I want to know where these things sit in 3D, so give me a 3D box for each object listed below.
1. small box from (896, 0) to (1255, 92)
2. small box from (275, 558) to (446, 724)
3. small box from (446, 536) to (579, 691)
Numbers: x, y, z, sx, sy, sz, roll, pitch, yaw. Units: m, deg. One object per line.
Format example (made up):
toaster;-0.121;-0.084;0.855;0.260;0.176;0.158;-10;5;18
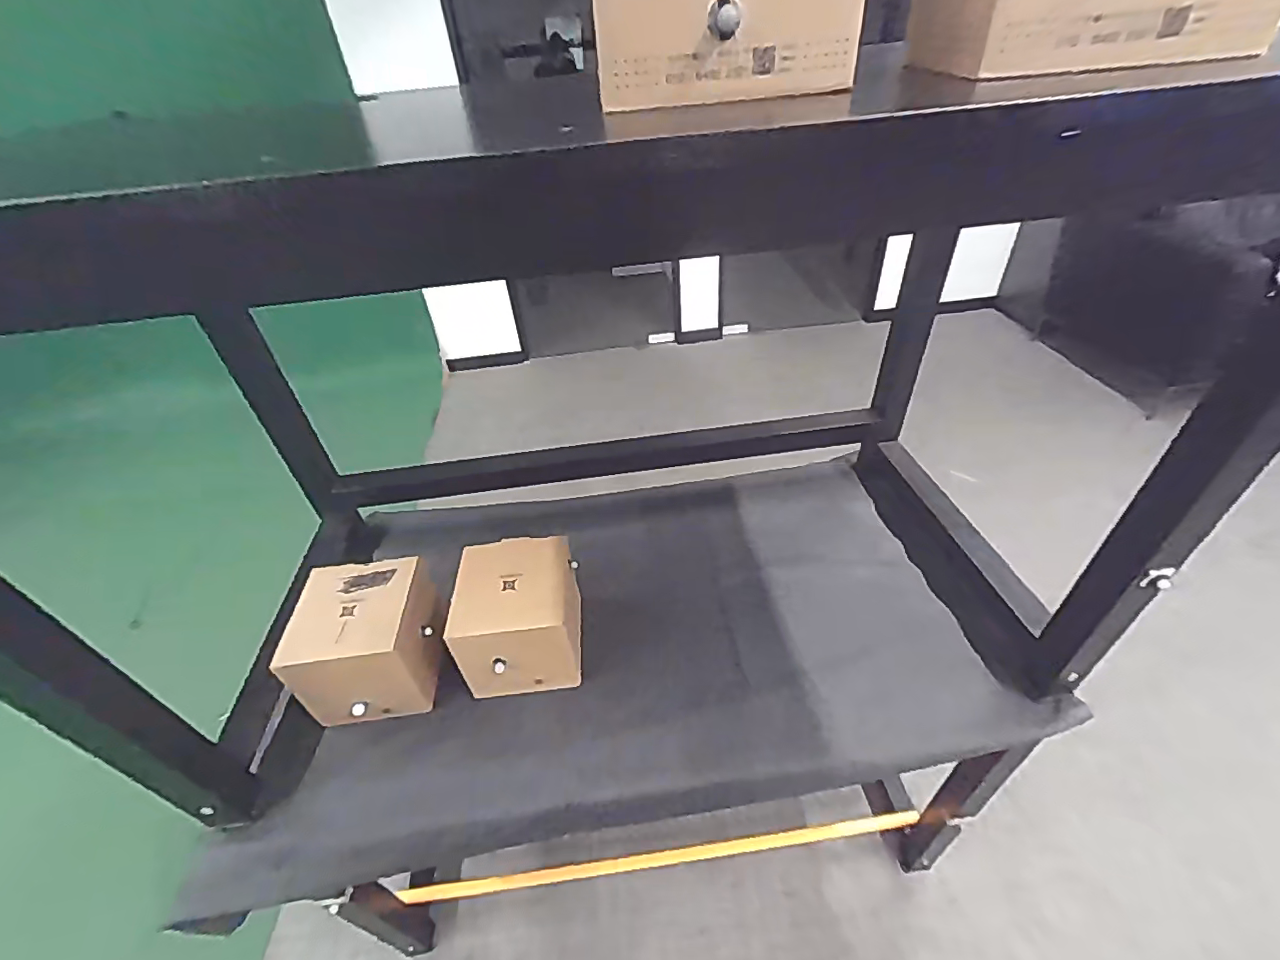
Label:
small box;0.295;-0.371;0.365;0.168;0.176;0.179;0;39;6
small box;-0.413;0.247;0.840;0.168;0.176;0.179;-7;40;-3
small box;-0.189;0.216;0.859;0.168;0.176;0.179;-6;39;-2
